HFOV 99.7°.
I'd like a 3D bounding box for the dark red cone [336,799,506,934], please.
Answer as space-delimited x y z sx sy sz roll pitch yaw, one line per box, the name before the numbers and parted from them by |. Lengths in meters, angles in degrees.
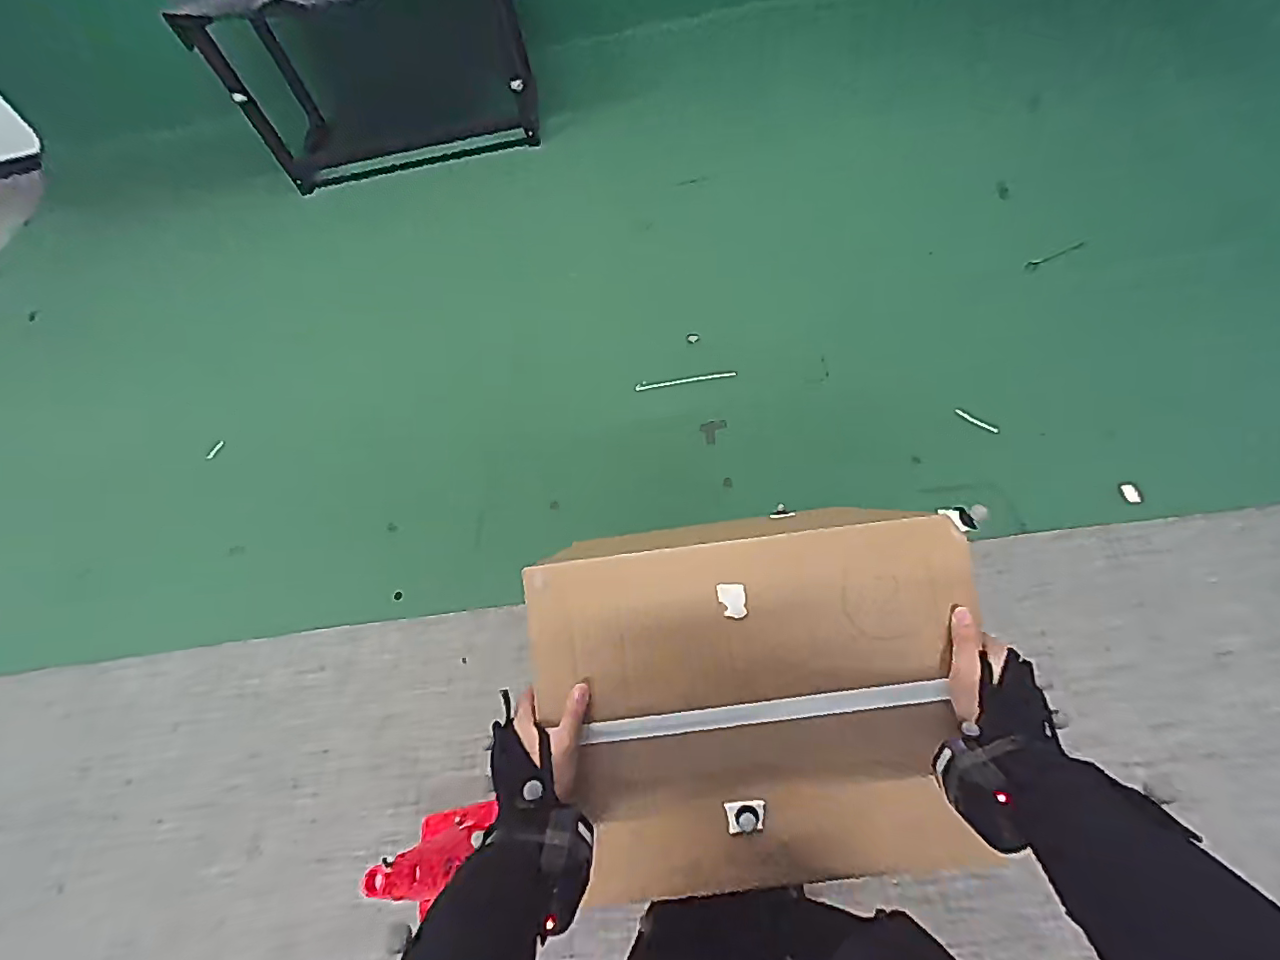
dark red cone | -0.396 0.688 0.962 0.202 0.394 0.201 -15 55 2
